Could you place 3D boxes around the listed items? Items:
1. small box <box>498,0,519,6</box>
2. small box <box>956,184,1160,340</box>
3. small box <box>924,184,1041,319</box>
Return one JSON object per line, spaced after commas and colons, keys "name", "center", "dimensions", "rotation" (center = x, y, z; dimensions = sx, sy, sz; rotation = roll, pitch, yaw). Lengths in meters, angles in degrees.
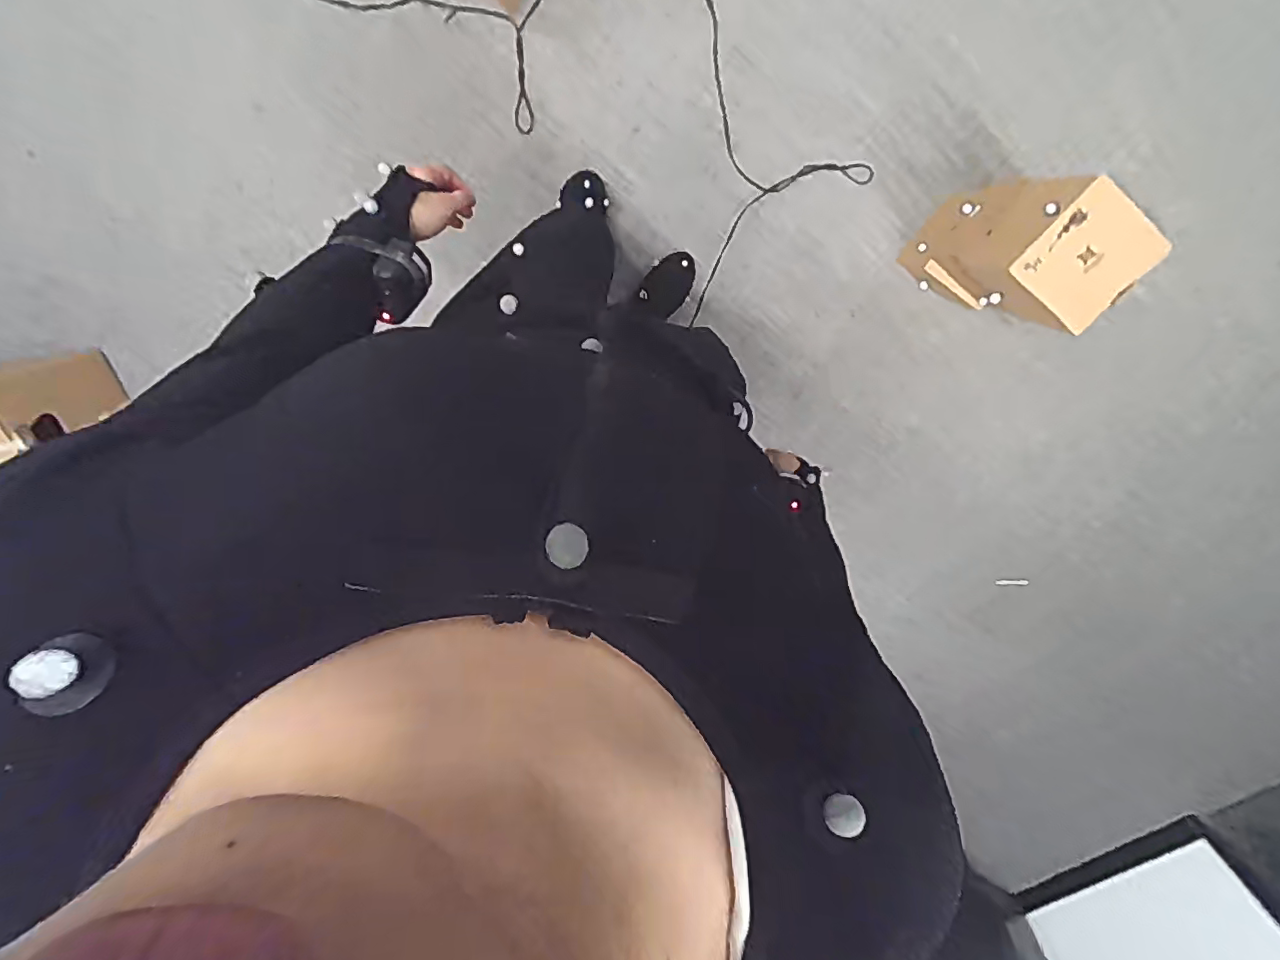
{"name": "small box", "center": [-0.275, -1.020, 0.984], "dimensions": [0.179, 0.176, 0.168], "rotation": [38, 113, -15]}
{"name": "small box", "center": [0.685, -0.369, 0.908], "dimensions": [0.179, 0.176, 0.168], "rotation": [34, 113, -14]}
{"name": "small box", "center": [0.702, -0.445, 1.052], "dimensions": [0.179, 0.176, 0.168], "rotation": [35, 113, -13]}
